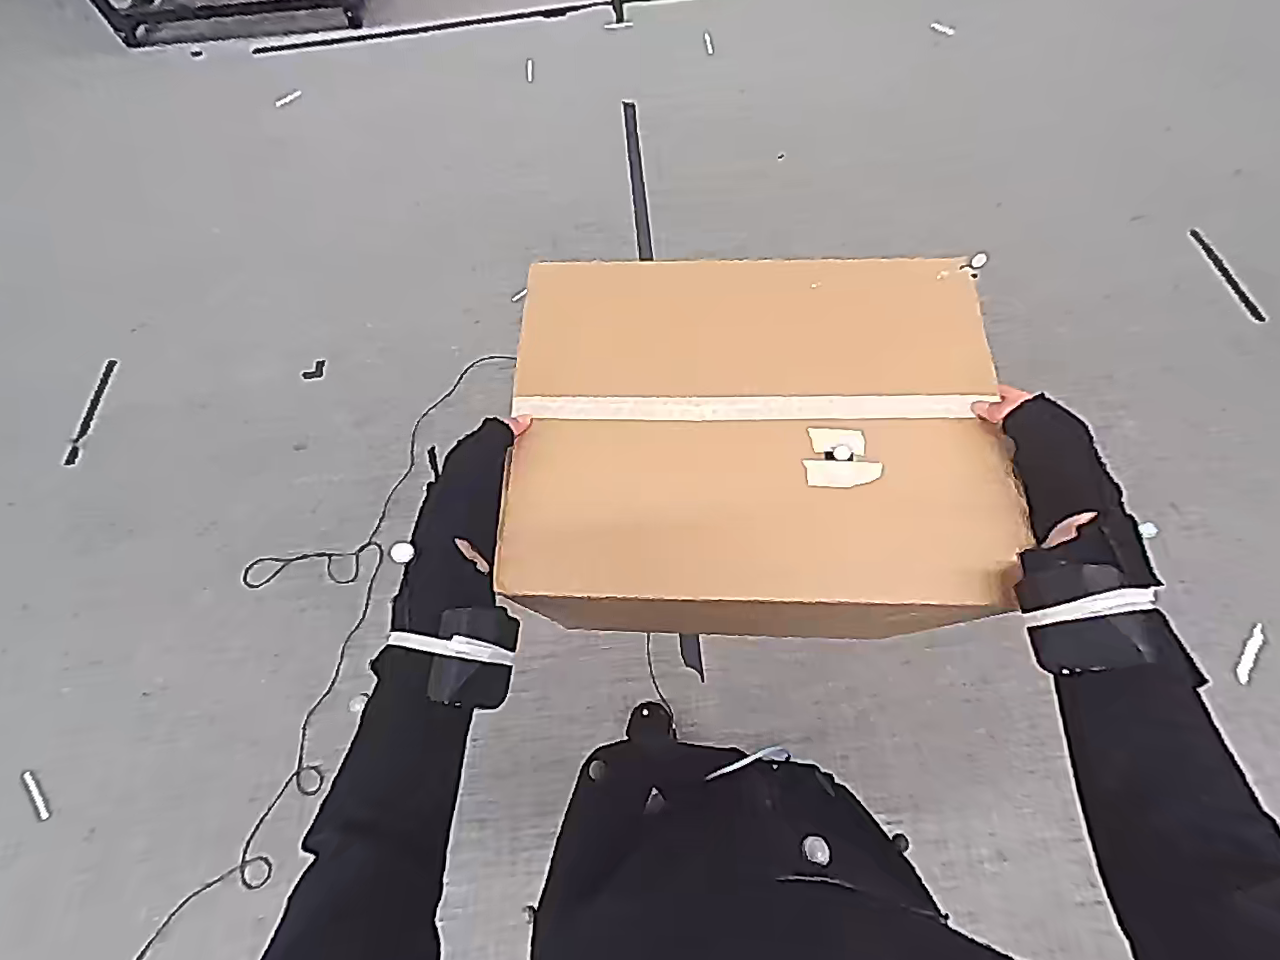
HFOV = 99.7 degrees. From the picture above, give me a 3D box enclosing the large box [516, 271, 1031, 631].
[{"bbox_3d":[0.104,-0.003,0.604,0.408,0.320,0.320,1,71,2],"label":"large box"}]
